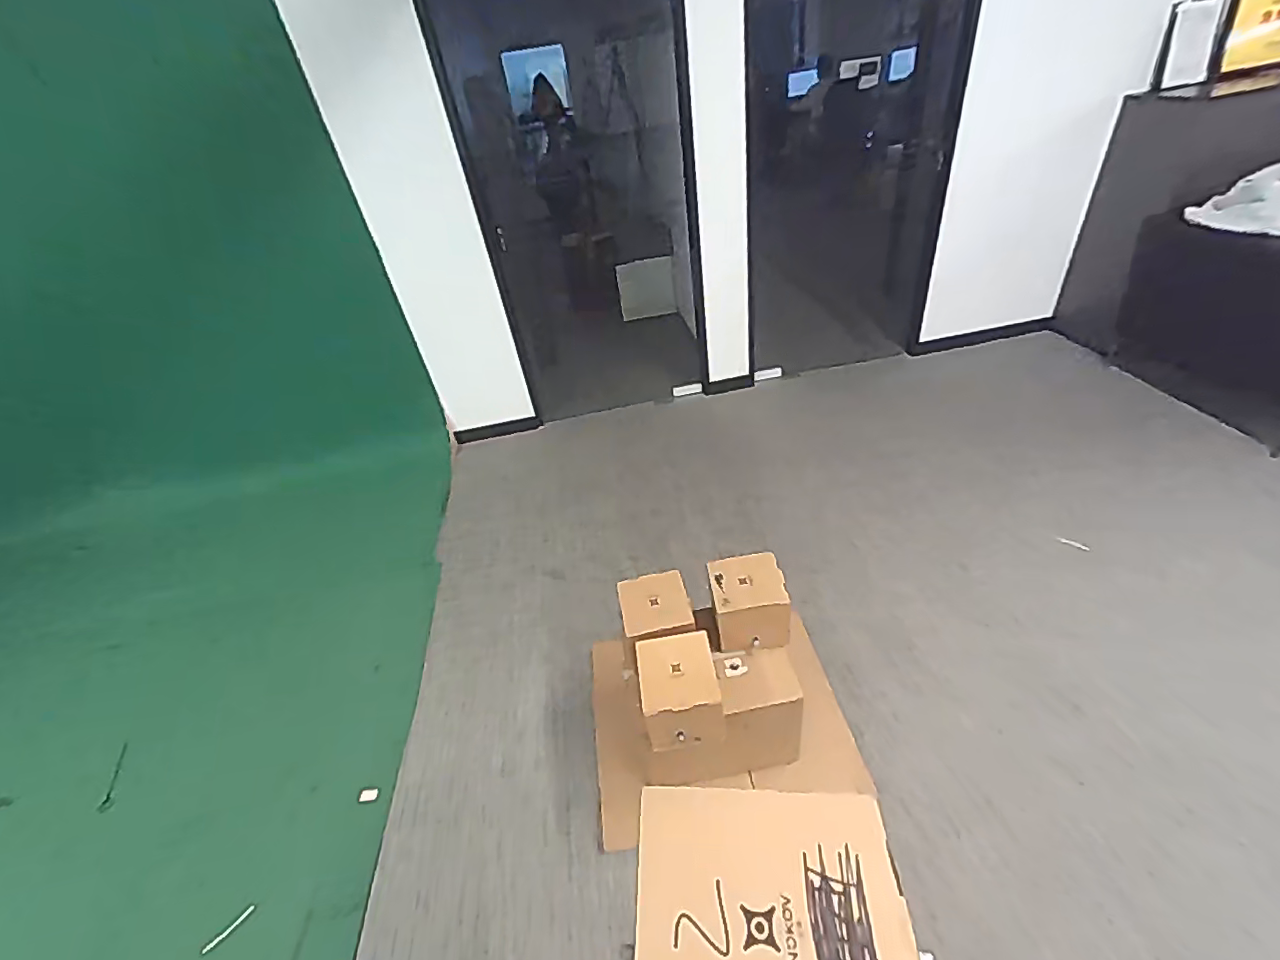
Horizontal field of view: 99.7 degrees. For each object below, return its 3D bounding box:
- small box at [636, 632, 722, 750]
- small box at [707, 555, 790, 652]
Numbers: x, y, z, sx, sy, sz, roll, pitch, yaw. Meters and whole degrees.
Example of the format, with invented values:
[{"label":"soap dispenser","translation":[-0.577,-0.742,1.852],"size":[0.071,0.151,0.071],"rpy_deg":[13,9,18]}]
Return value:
[{"label":"small box","translation":[0.086,0.470,1.209],"size":[0.168,0.176,0.179],"rpy_deg":[-9,39,0]},{"label":"small box","translation":[0.270,0.313,1.367],"size":[0.179,0.176,0.168],"rpy_deg":[-8,38,3]}]
